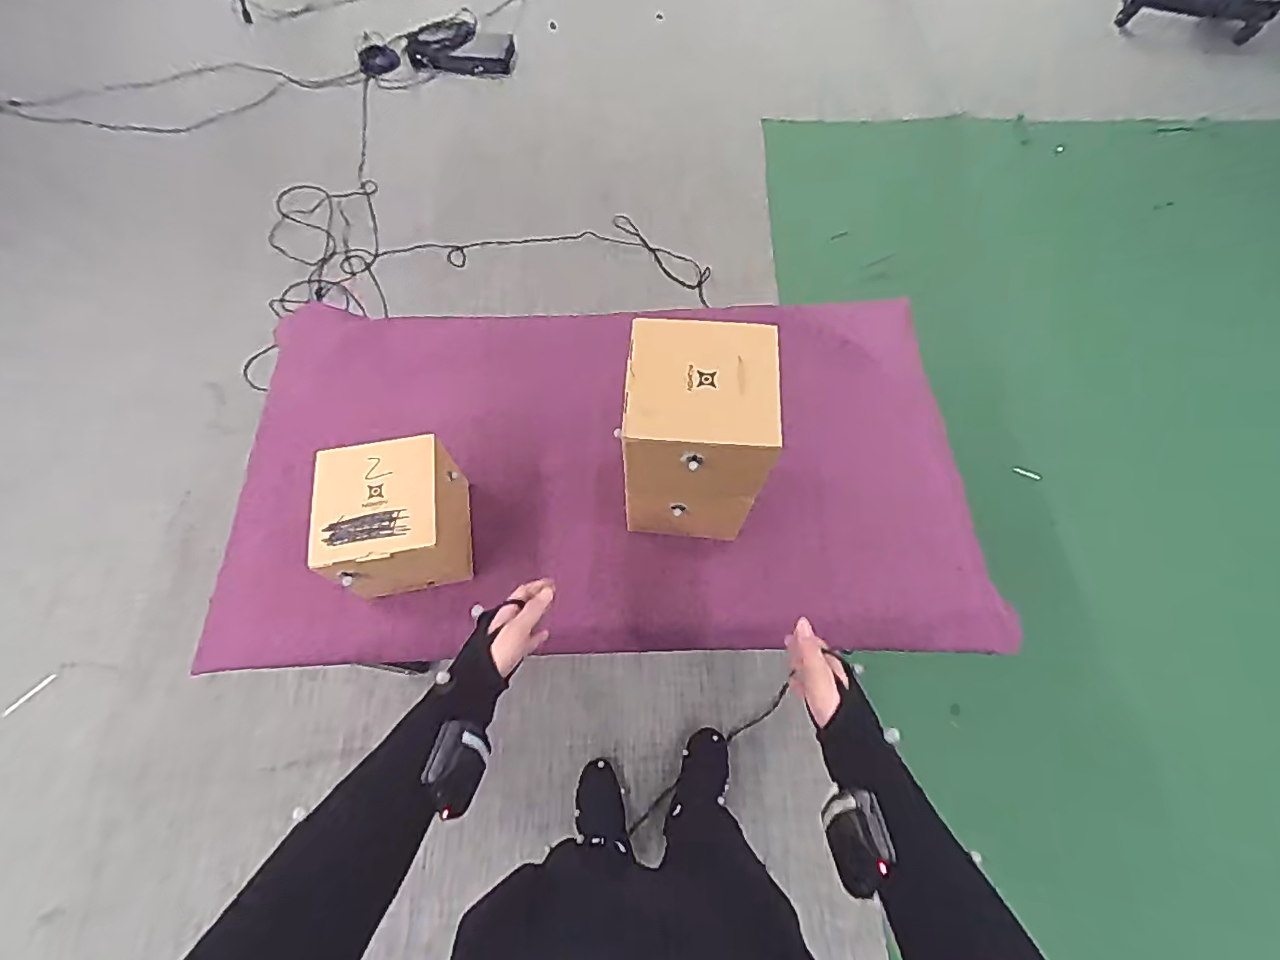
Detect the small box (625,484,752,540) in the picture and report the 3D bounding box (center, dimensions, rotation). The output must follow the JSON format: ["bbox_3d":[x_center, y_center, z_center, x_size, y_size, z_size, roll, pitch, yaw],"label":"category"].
[{"bbox_3d":[0.074,-0.012,0.837,0.179,0.176,0.168,5,66,2],"label":"small box"}]

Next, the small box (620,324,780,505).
[{"bbox_3d":[0.072,-0.075,0.687,0.179,0.176,0.168,4,67,2],"label":"small box"}]
